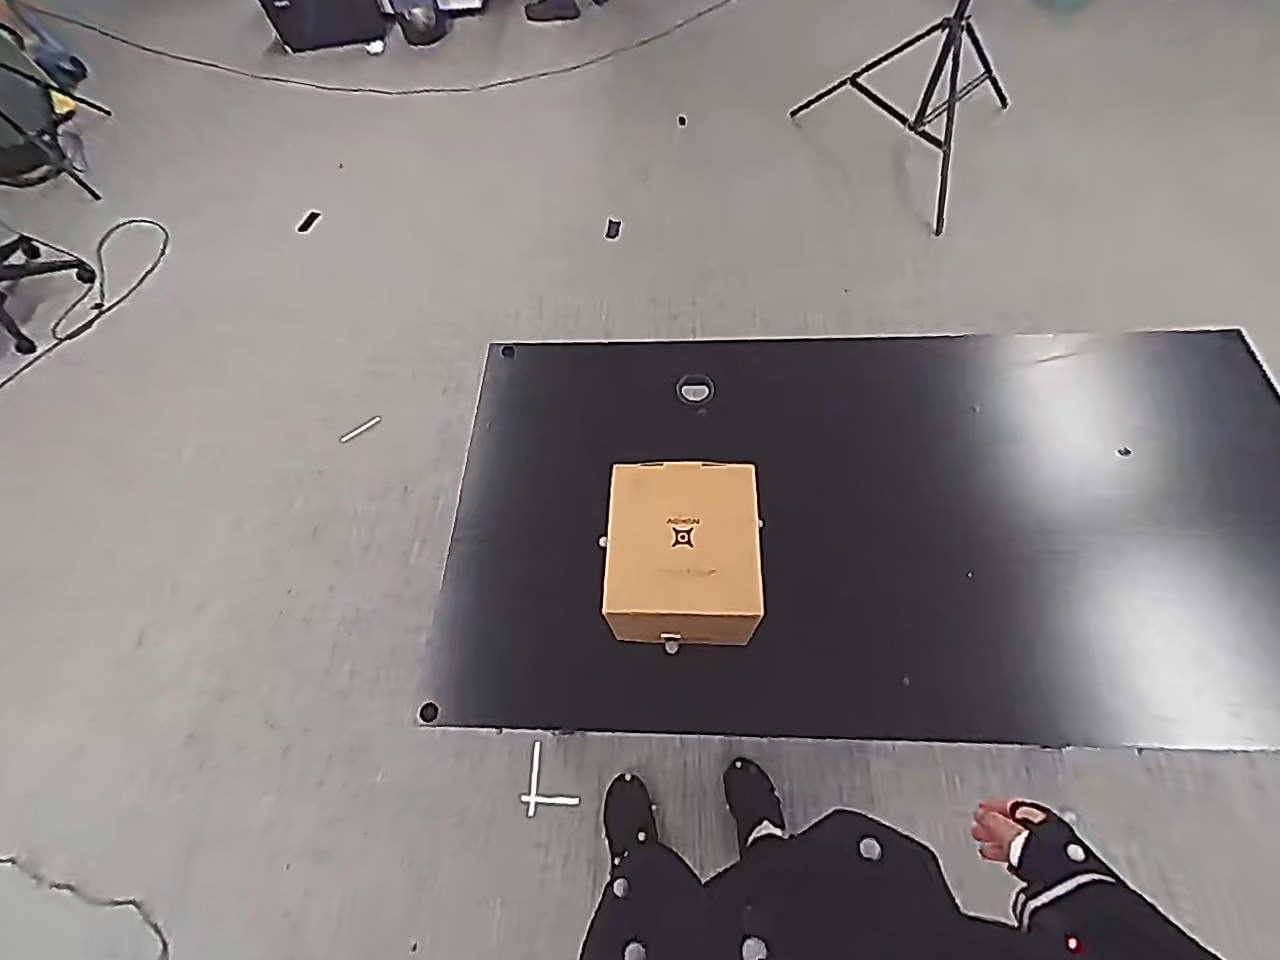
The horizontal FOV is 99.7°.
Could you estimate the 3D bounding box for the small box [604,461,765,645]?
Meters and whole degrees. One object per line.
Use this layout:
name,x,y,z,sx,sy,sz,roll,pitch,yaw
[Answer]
small box,0.052,0.092,0.650,0.168,0.176,0.179,0,64,5
